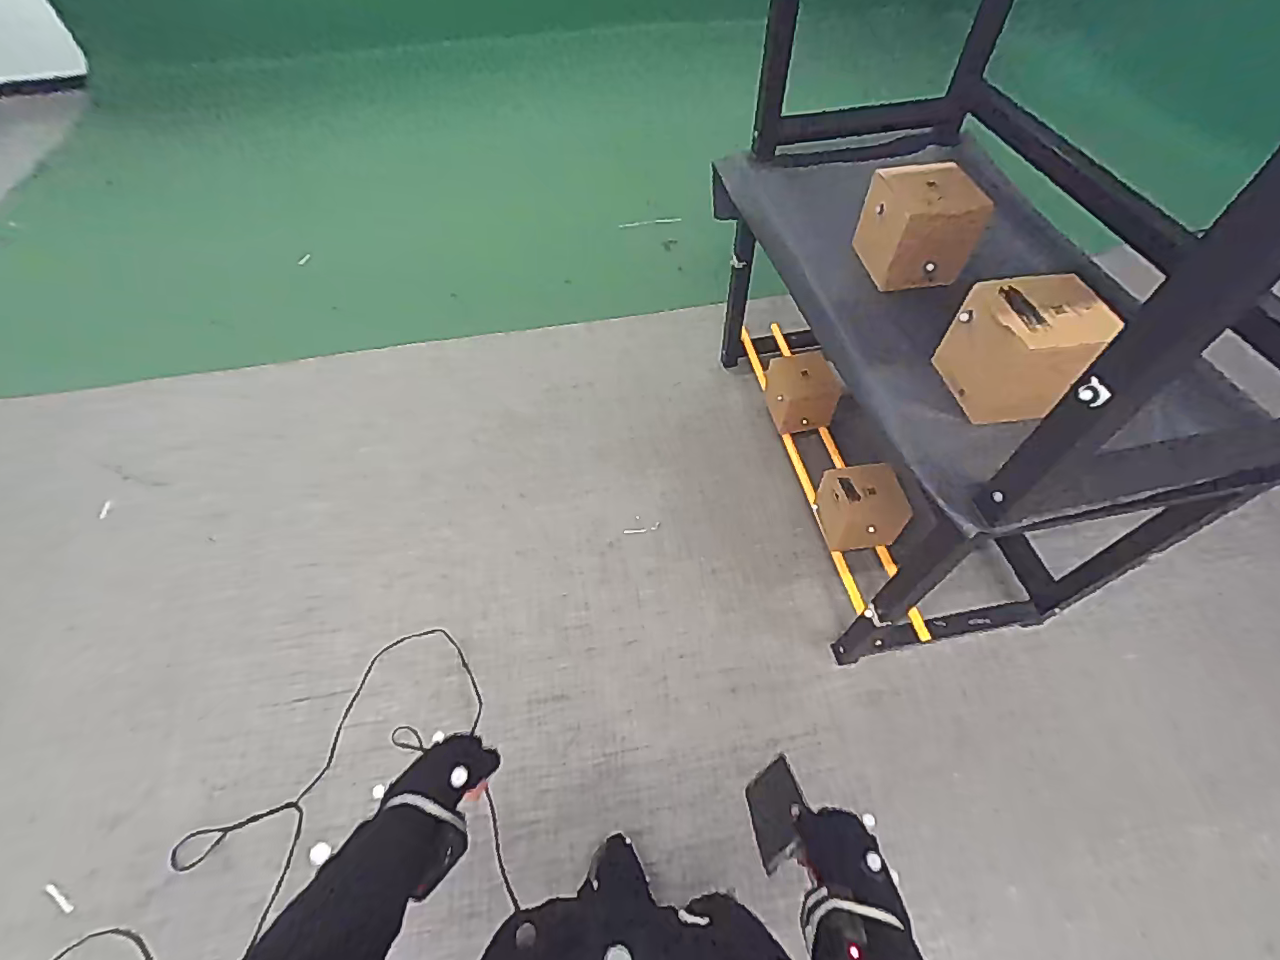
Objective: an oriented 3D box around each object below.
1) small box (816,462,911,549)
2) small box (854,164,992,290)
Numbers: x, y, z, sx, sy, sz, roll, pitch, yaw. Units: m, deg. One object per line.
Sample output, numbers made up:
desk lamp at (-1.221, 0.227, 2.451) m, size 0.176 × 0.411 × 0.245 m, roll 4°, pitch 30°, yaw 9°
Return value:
small box at (0.589, 0.074, 1.461) m, size 0.179 × 0.176 × 0.168 m, roll -7°, pitch 56°, yaw -2°
small box at (0.566, -0.518, 1.113) m, size 0.168 × 0.176 × 0.179 m, roll -7°, pitch 56°, yaw -3°
